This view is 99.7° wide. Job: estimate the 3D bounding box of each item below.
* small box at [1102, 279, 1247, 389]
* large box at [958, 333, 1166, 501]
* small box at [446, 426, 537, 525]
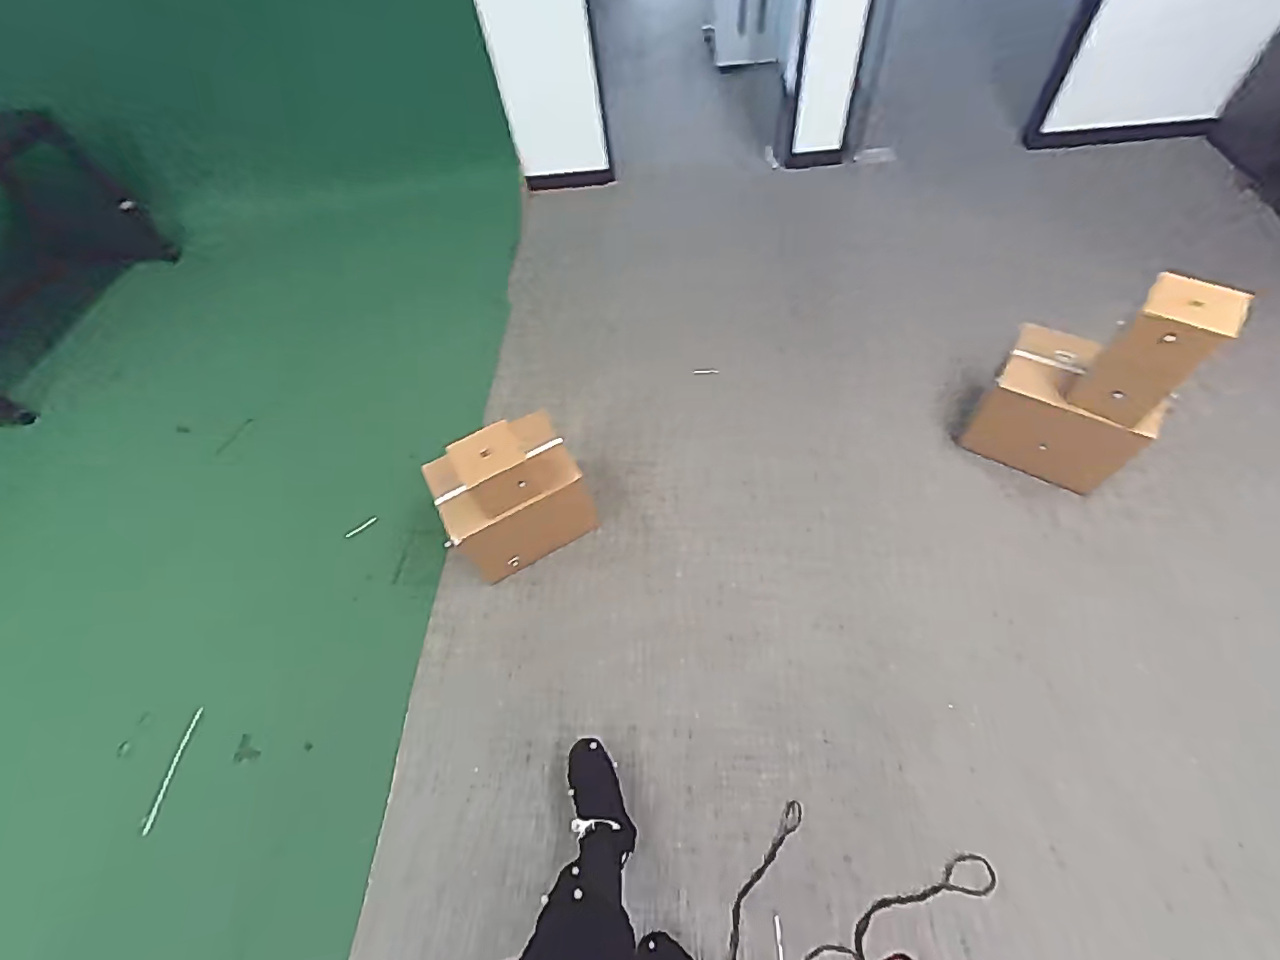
[{"bbox_3d":[1.290,-0.348,1.314,0.179,0.176,0.168,30,66,25],"label":"small box"},{"bbox_3d":[1.308,-0.198,1.704,0.408,0.320,0.320,26,63,23],"label":"large box"},{"bbox_3d":[-0.397,-0.009,1.482,0.179,0.176,0.168,-28,58,-11],"label":"small box"}]
